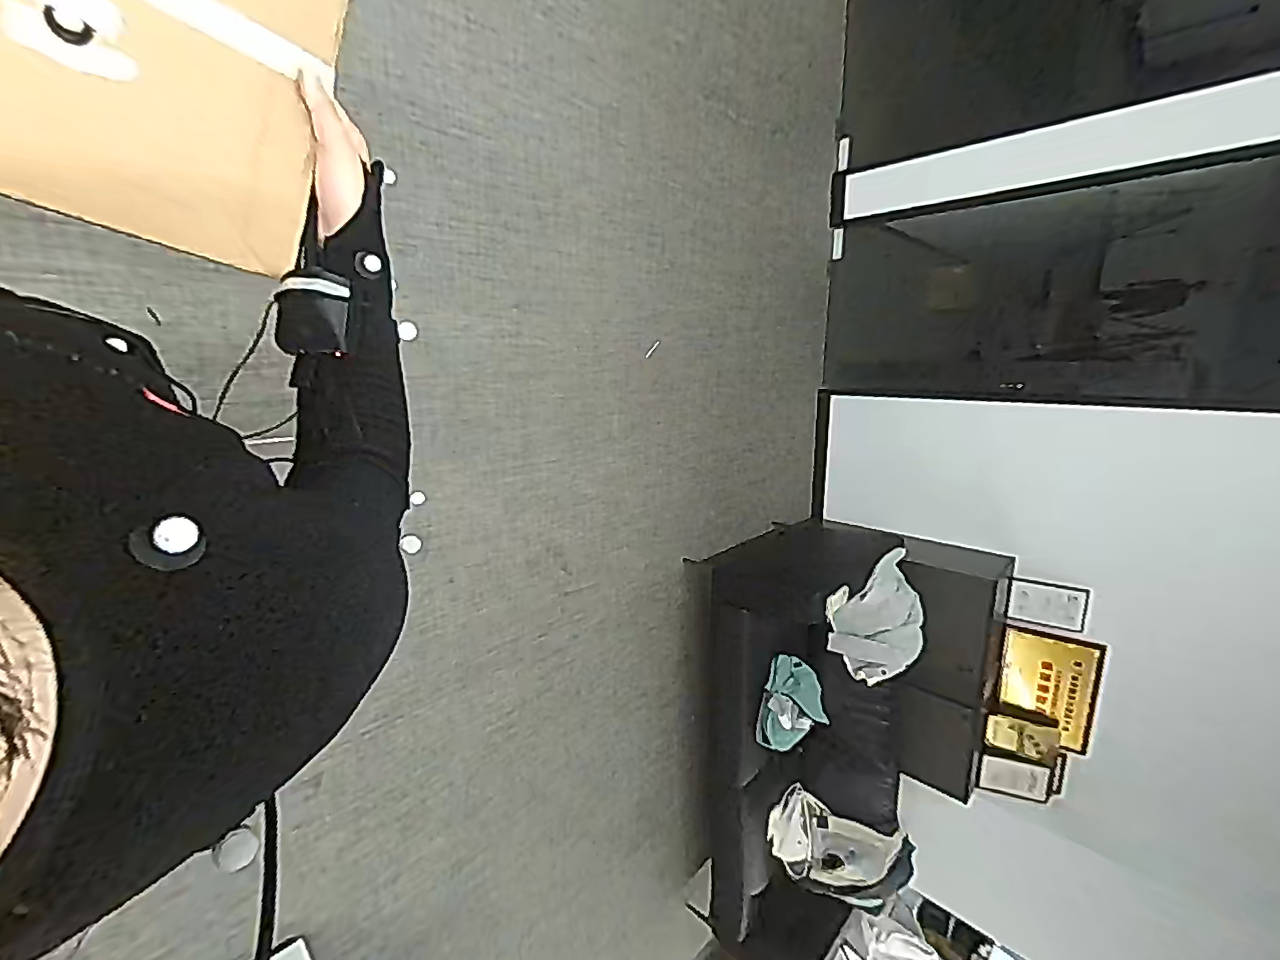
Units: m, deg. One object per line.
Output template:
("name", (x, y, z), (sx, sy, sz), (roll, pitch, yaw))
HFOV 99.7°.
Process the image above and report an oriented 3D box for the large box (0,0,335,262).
("large box", (-0.485, -0.387, 0.384), (0.408, 0.320, 0.320), (7, 107, -45))
